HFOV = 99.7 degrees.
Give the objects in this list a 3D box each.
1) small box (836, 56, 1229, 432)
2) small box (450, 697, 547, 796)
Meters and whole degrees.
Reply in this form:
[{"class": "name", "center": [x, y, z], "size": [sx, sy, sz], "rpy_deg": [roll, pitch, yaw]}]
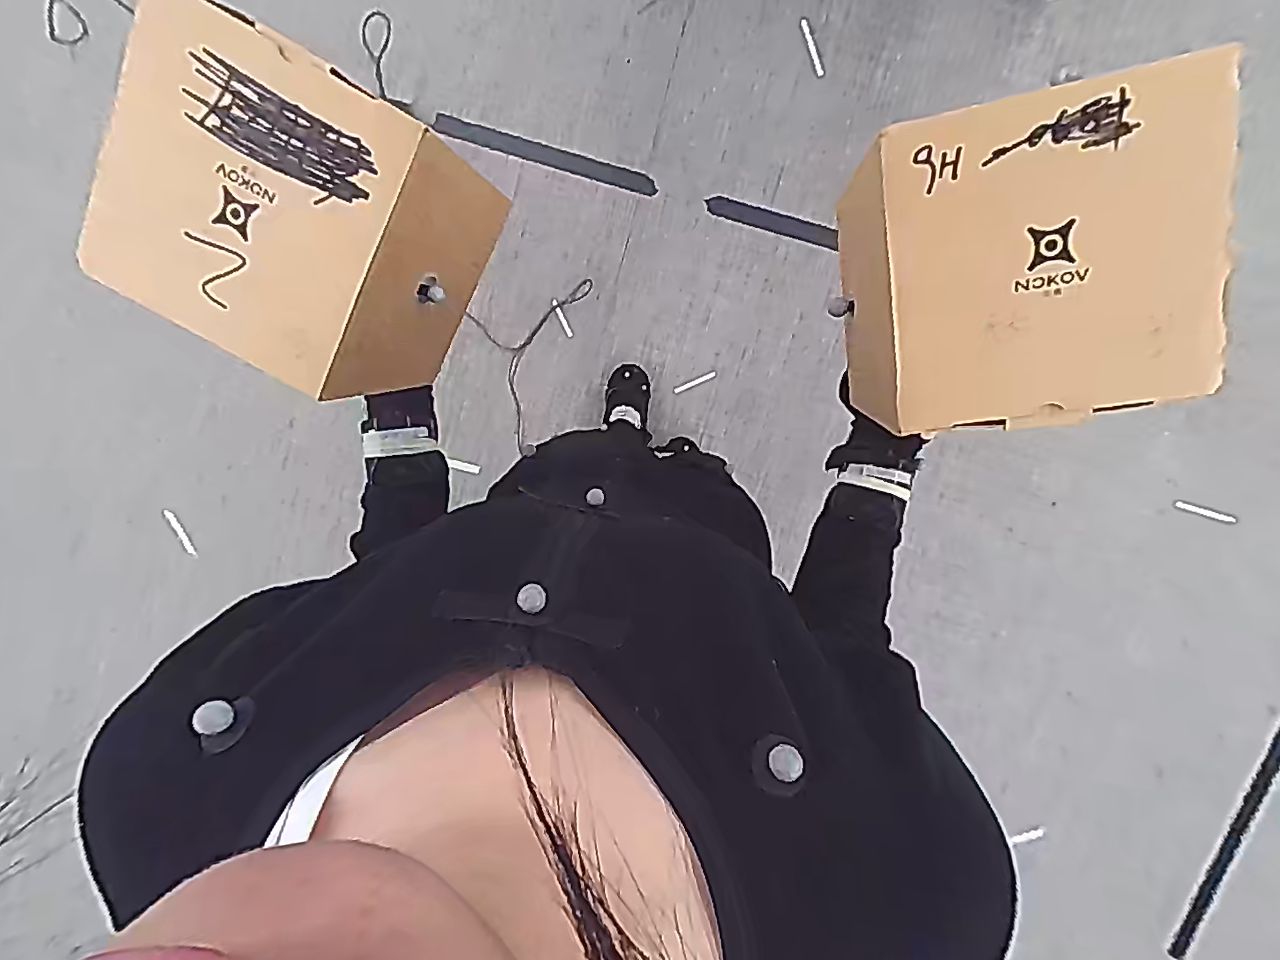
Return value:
[{"class": "small box", "center": [0.240, -0.142, 0.381], "size": [0.168, 0.176, 0.179], "rpy_deg": [-7, 104, 12]}, {"class": "small box", "center": [-0.327, 0.619, 1.203], "size": [0.179, 0.176, 0.168], "rpy_deg": [25, 97, 2]}]
